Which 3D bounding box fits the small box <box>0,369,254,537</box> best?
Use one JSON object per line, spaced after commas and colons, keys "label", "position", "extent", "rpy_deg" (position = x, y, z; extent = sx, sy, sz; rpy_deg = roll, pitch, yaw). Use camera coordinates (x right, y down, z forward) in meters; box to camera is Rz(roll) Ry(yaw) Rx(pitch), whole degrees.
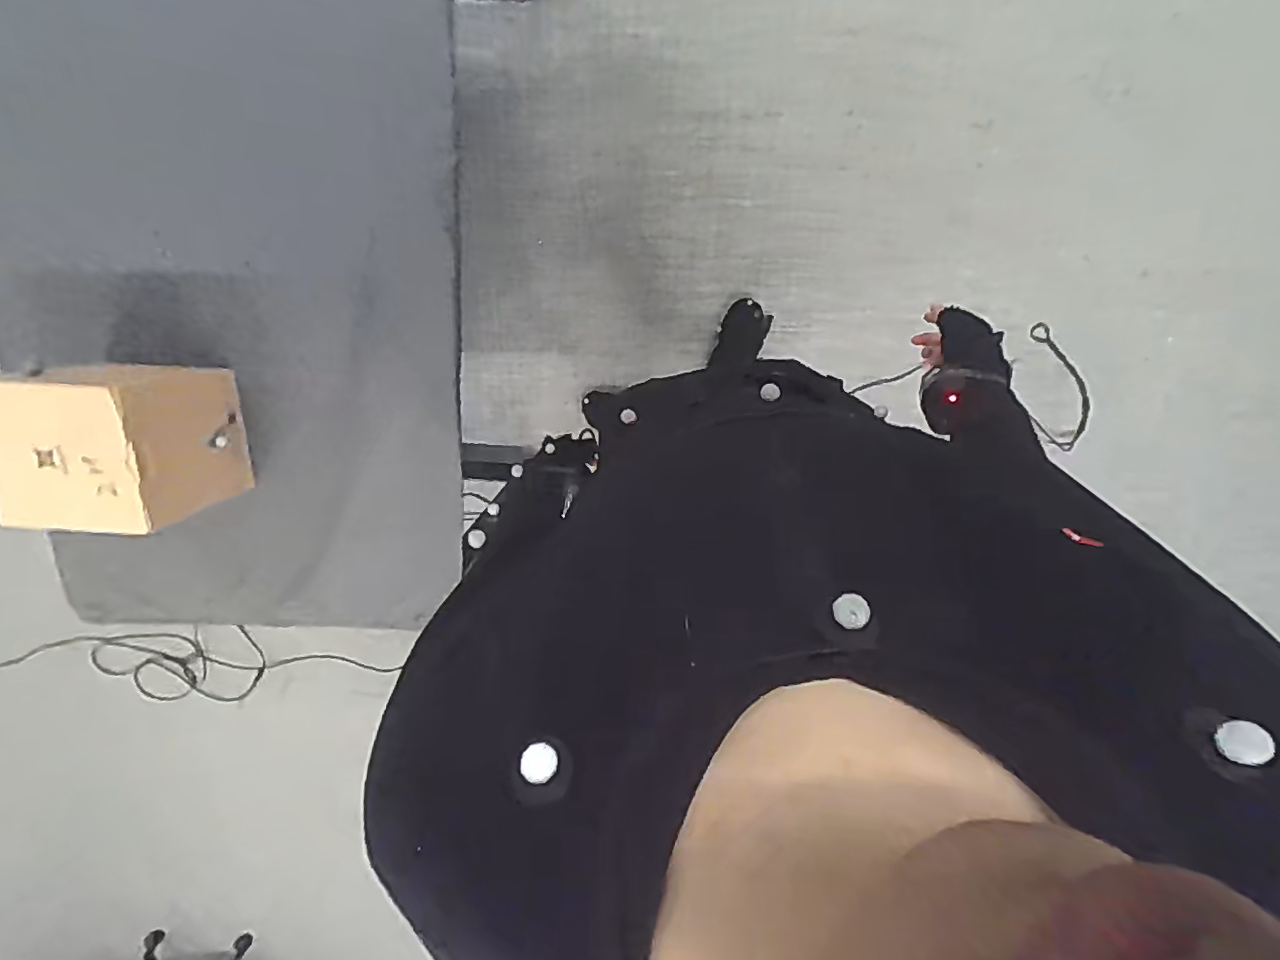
{"label": "small box", "position": [-0.624, -0.042, 0.659], "extent": [0.179, 0.176, 0.168], "rpy_deg": [3, 108, 1]}
